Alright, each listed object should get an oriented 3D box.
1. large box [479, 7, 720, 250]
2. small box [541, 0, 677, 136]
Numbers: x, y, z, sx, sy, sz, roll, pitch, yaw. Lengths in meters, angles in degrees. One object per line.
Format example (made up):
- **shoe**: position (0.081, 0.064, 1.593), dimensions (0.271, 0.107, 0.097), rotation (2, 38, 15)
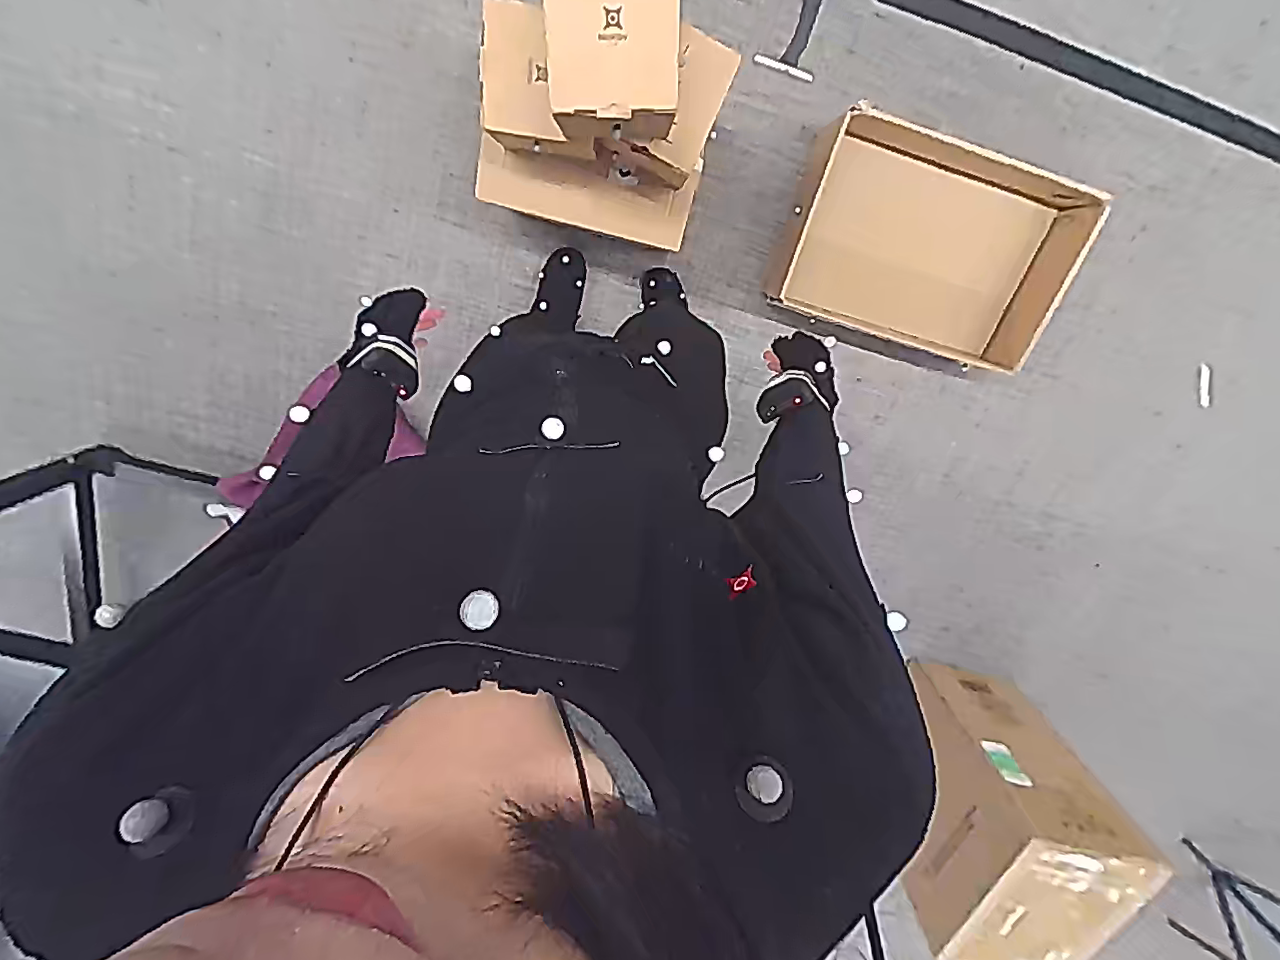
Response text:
- **large box**: position (-0.088, -0.685, 1.125), dimensions (0.408, 0.320, 0.320), rotation (11, 113, -7)
- **small box**: position (-0.038, -0.578, 0.730), dimensions (0.168, 0.176, 0.179), rotation (0, 113, -1)
